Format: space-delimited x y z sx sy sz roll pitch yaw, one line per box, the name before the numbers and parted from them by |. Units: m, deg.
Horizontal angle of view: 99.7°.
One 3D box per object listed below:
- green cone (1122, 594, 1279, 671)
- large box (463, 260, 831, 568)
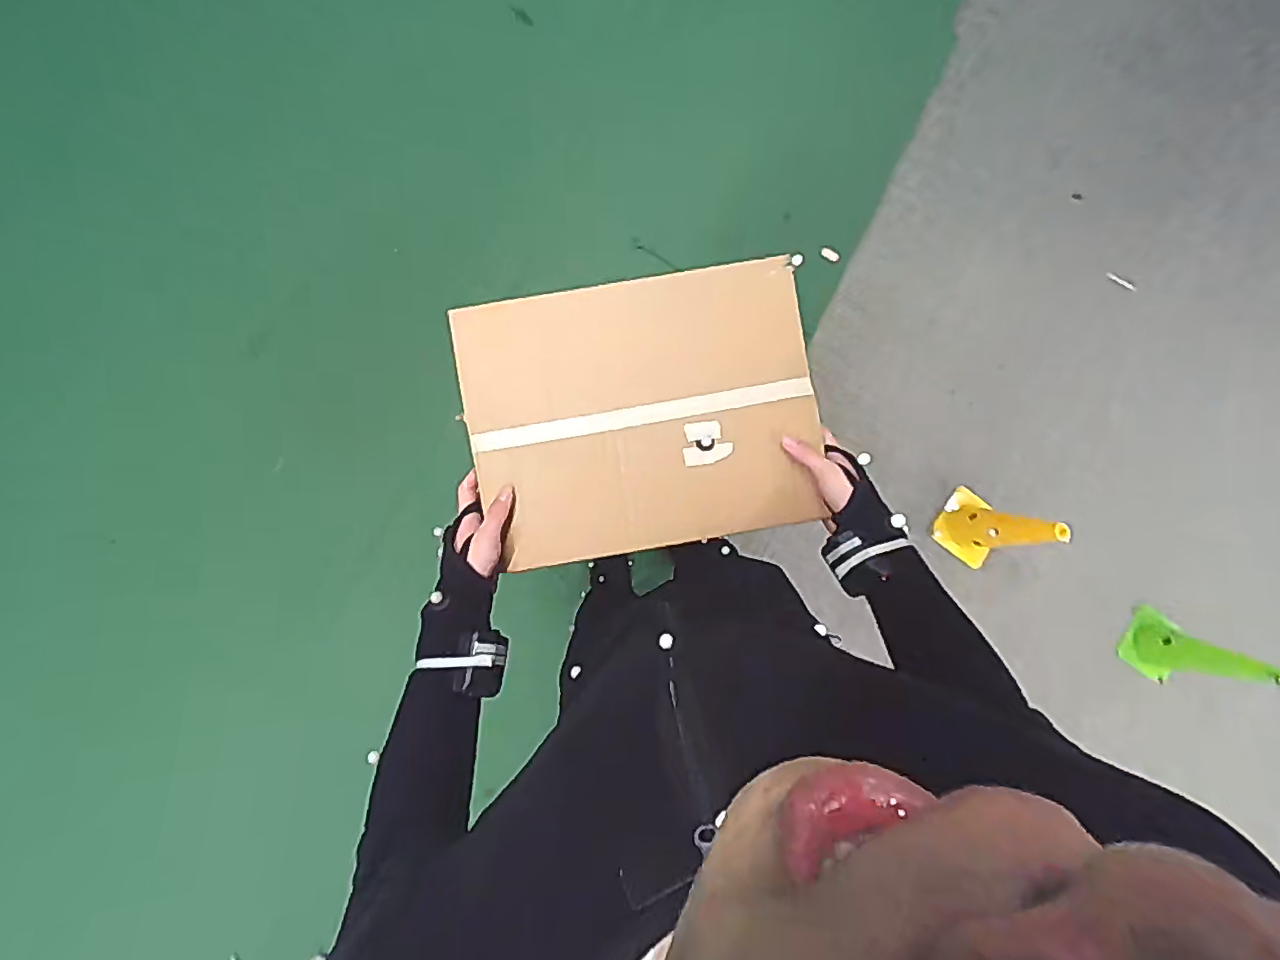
green cone | 1.724 0.493 1.615 0.202 0.368 0.200 32 85 -2
large box | 0.005 -0.078 0.790 0.408 0.320 0.320 -9 91 -1
